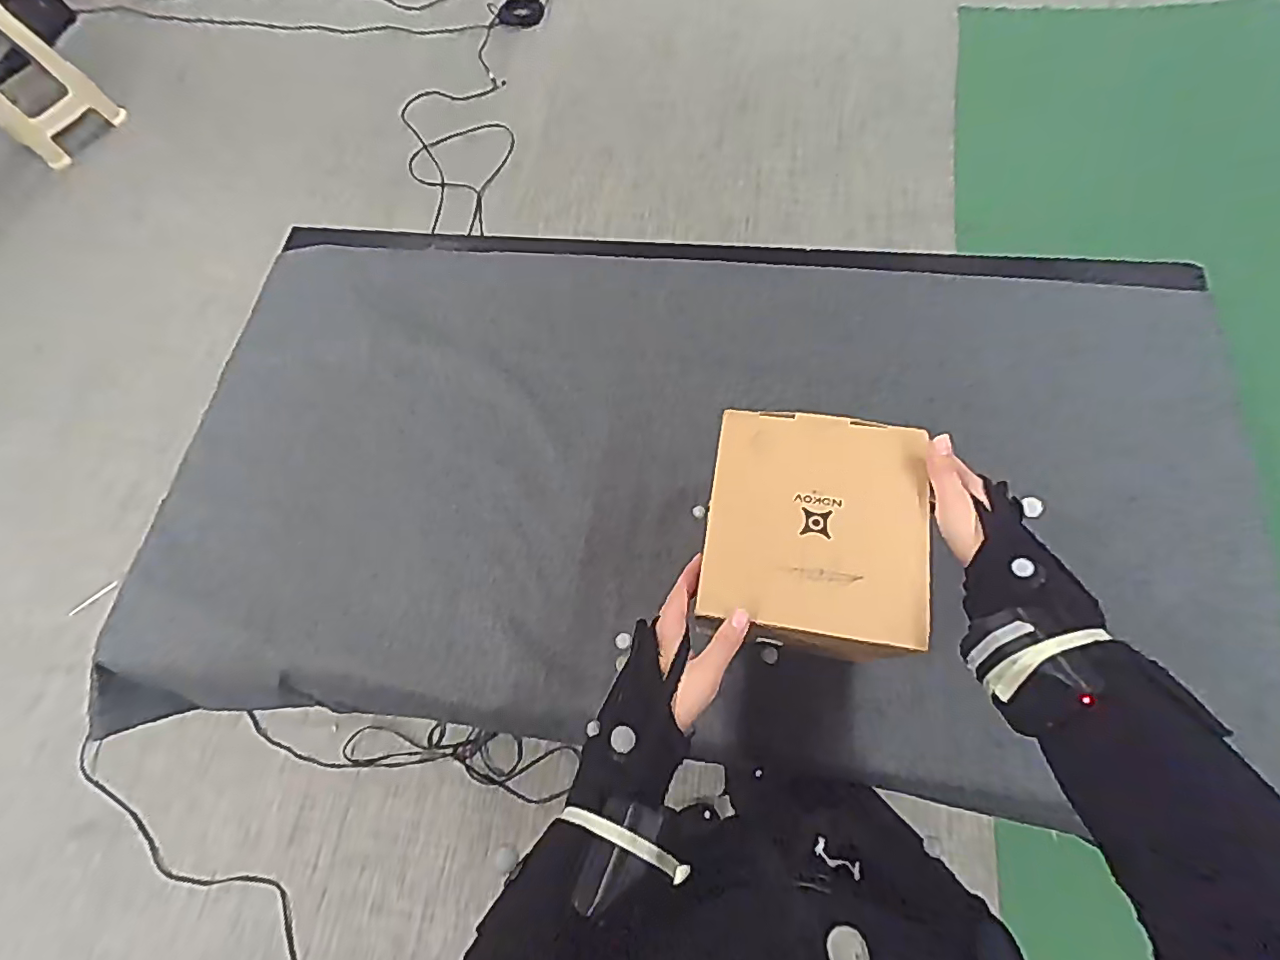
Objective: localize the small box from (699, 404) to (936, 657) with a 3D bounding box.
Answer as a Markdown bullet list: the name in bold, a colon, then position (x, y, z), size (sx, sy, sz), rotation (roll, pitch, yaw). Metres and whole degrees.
- **small box**: position (0.146, 0.053, 0.484), size (0.168, 0.176, 0.179), rotation (6, 71, 11)
